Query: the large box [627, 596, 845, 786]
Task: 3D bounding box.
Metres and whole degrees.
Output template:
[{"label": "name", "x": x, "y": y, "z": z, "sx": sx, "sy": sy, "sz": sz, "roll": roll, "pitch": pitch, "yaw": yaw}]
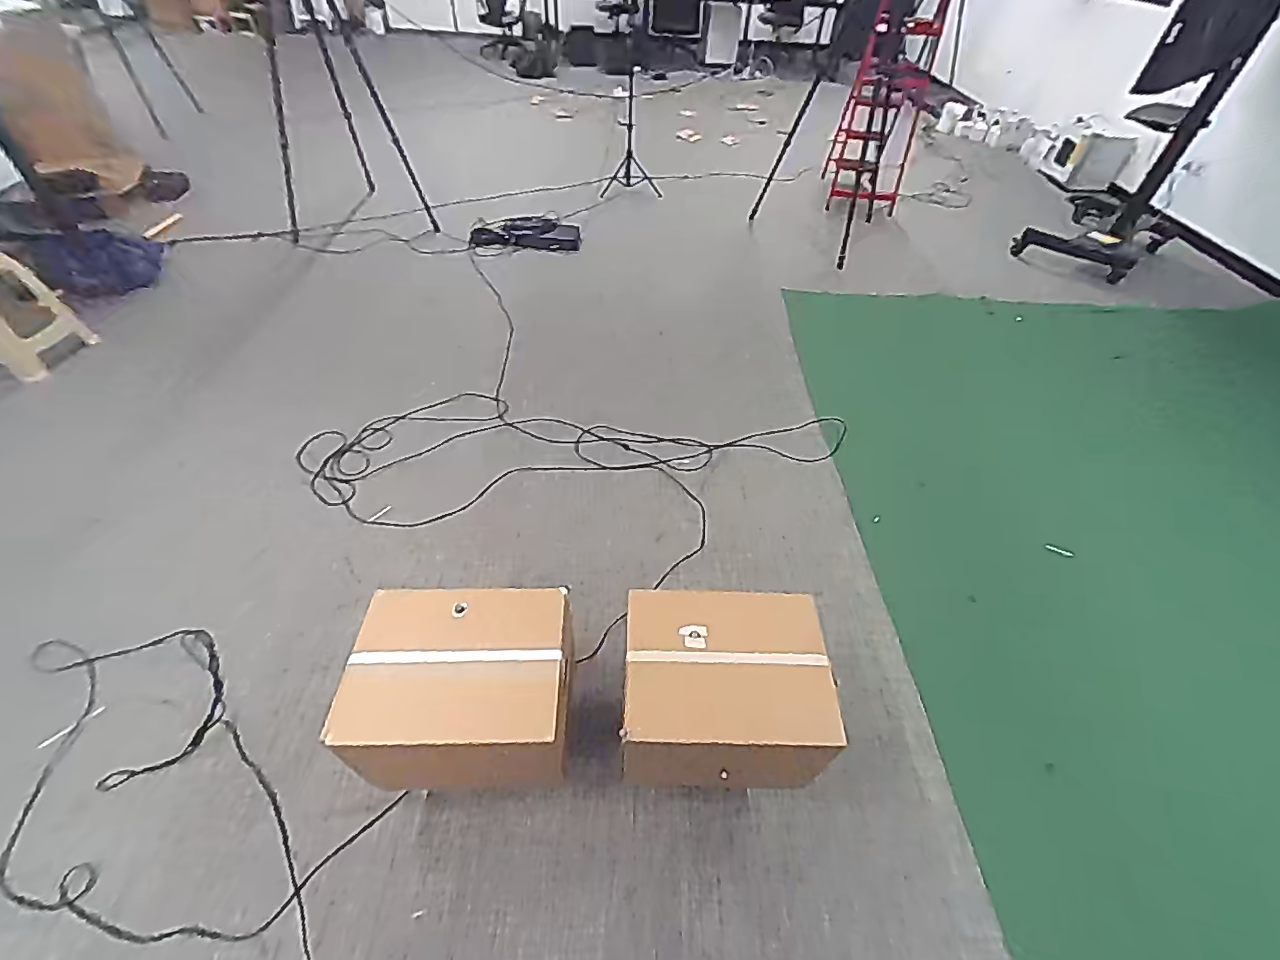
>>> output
[{"label": "large box", "x": 0.177, "y": 0.470, "z": 1.193, "sx": 0.408, "sy": 0.320, "sz": 0.320, "roll": 2, "pitch": 47, "yaw": -1}]
